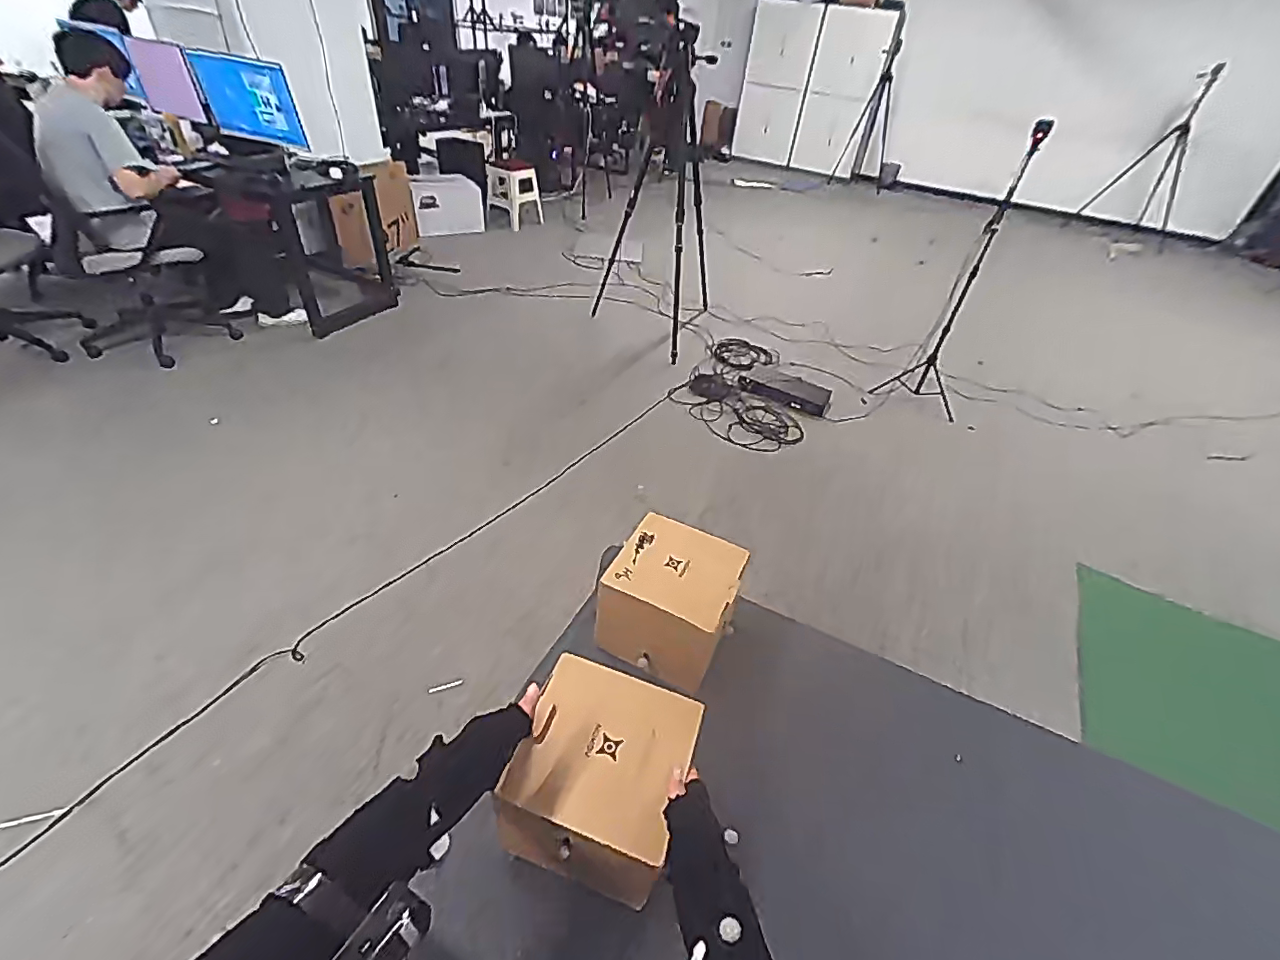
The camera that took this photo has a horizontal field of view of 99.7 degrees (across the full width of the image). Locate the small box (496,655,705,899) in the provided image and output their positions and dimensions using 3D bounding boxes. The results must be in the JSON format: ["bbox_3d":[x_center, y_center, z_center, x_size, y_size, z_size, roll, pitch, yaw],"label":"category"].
[{"bbox_3d":[-0.044,0.336,0.612,0.179,0.176,0.168,18,42,8],"label":"small box"}]

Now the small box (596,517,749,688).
[{"bbox_3d":[0.046,0.194,0.844,0.179,0.176,0.168,22,43,16],"label":"small box"}]
